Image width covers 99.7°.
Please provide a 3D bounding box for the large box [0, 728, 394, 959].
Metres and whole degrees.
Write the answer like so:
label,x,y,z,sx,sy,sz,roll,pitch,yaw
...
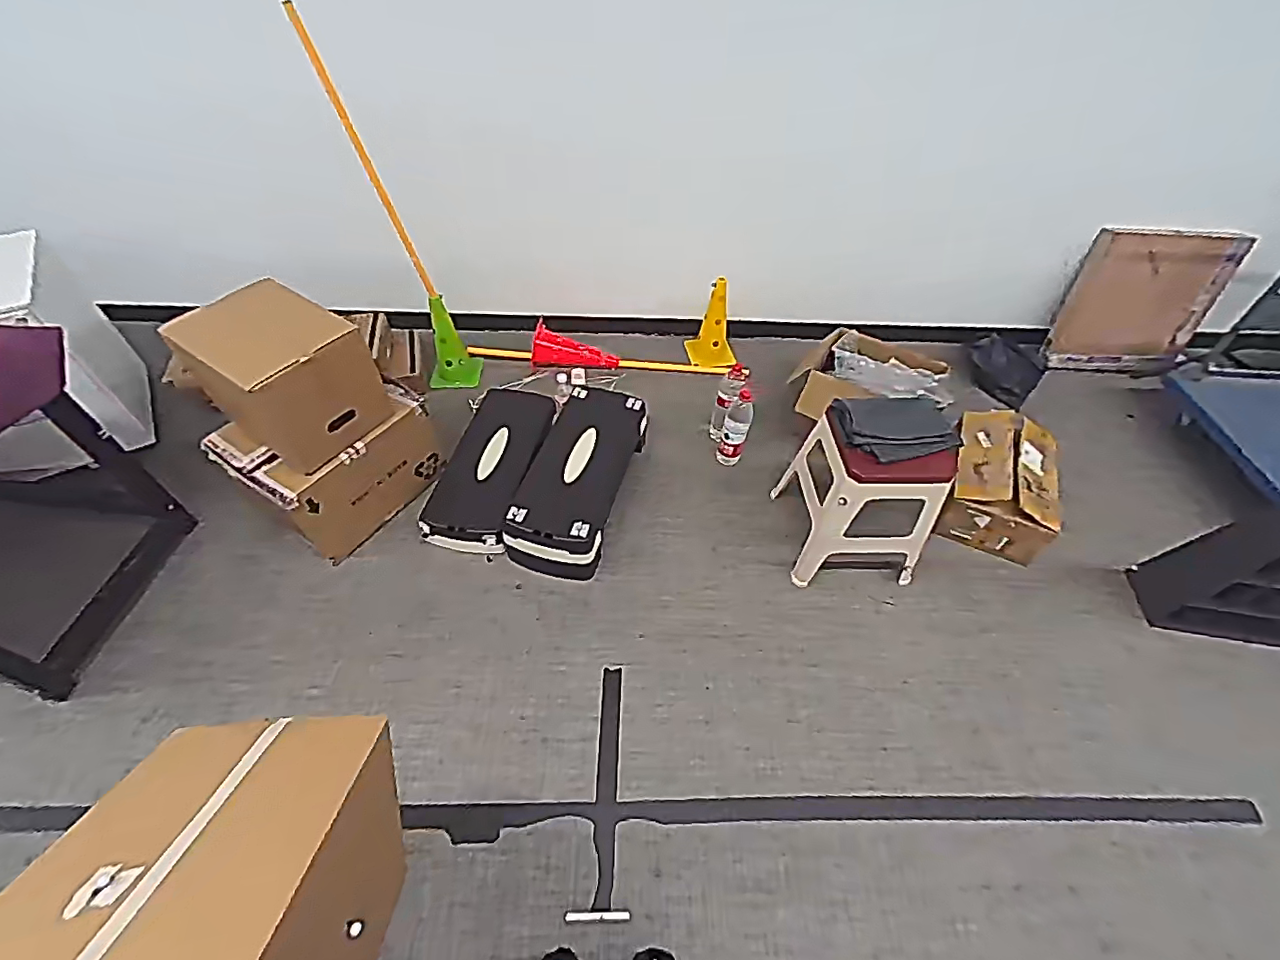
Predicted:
label,x,y,z,sx,sy,sz,roll,pitch,yaw
large box,-0.542,0.586,0.691,0.320,0.320,0.408,-1,14,-6
